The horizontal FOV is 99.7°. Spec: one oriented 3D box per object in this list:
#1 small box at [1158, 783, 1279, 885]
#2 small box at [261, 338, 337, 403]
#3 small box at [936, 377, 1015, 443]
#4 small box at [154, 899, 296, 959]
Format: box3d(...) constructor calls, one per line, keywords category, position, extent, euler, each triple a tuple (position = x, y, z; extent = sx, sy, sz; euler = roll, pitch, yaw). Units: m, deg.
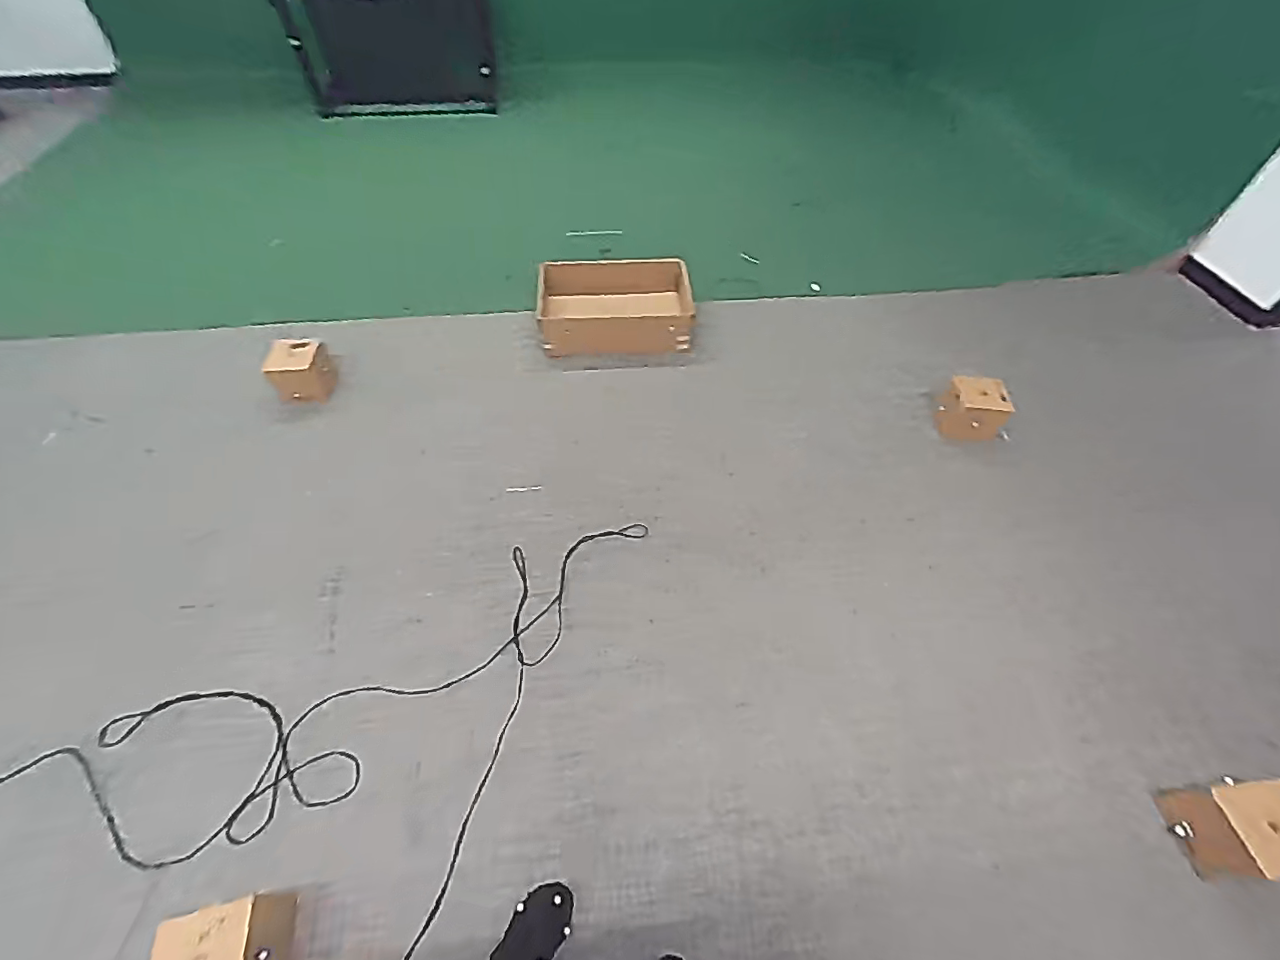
box3d(category="small box", position=(1.313, 0.772, 1.177), extent=(0.179, 0.176, 0.168), euler=(-5, 52, -3))
box3d(category="small box", position=(-1.269, -0.410, 2.031), extent=(0.168, 0.176, 0.179), euler=(-3, 54, -3))
box3d(category="small box", position=(1.193, -0.250, 1.945), extent=(0.179, 0.176, 0.168), euler=(5, 53, 4))
box3d(category="small box", position=(-0.786, 0.924, 1.026), extent=(0.168, 0.176, 0.179), euler=(-11, 53, -9))
